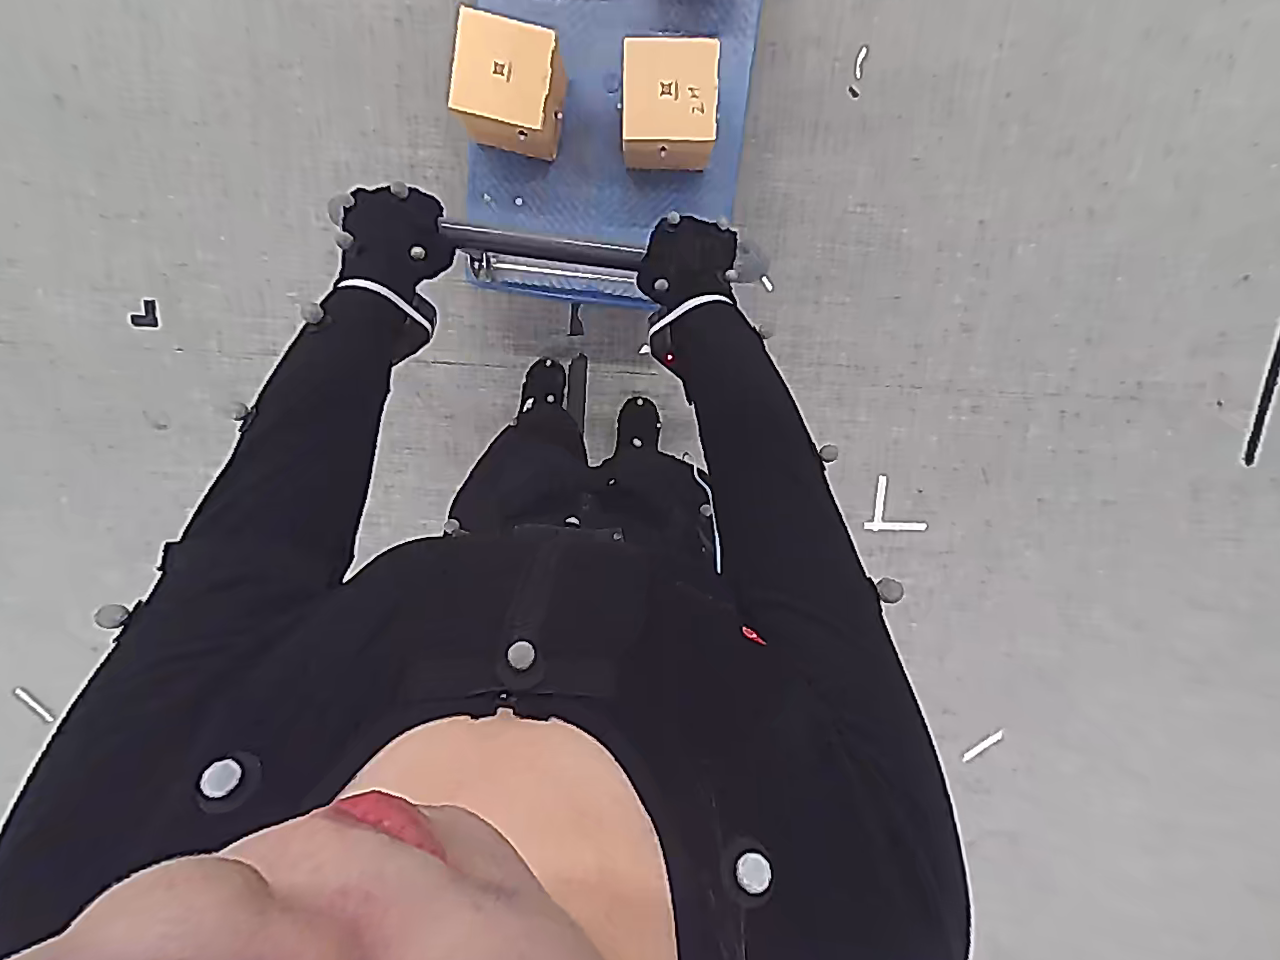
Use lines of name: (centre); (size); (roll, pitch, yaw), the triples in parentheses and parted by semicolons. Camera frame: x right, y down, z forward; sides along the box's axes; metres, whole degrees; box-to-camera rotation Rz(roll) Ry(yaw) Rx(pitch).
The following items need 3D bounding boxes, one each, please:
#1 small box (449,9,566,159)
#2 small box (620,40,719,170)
small box: (-0.252, -0.759, 1.058); (0.179, 0.176, 0.168); (12, 103, -5)
small box: (0.054, -0.727, 1.066); (0.179, 0.176, 0.168); (1, 104, 0)
